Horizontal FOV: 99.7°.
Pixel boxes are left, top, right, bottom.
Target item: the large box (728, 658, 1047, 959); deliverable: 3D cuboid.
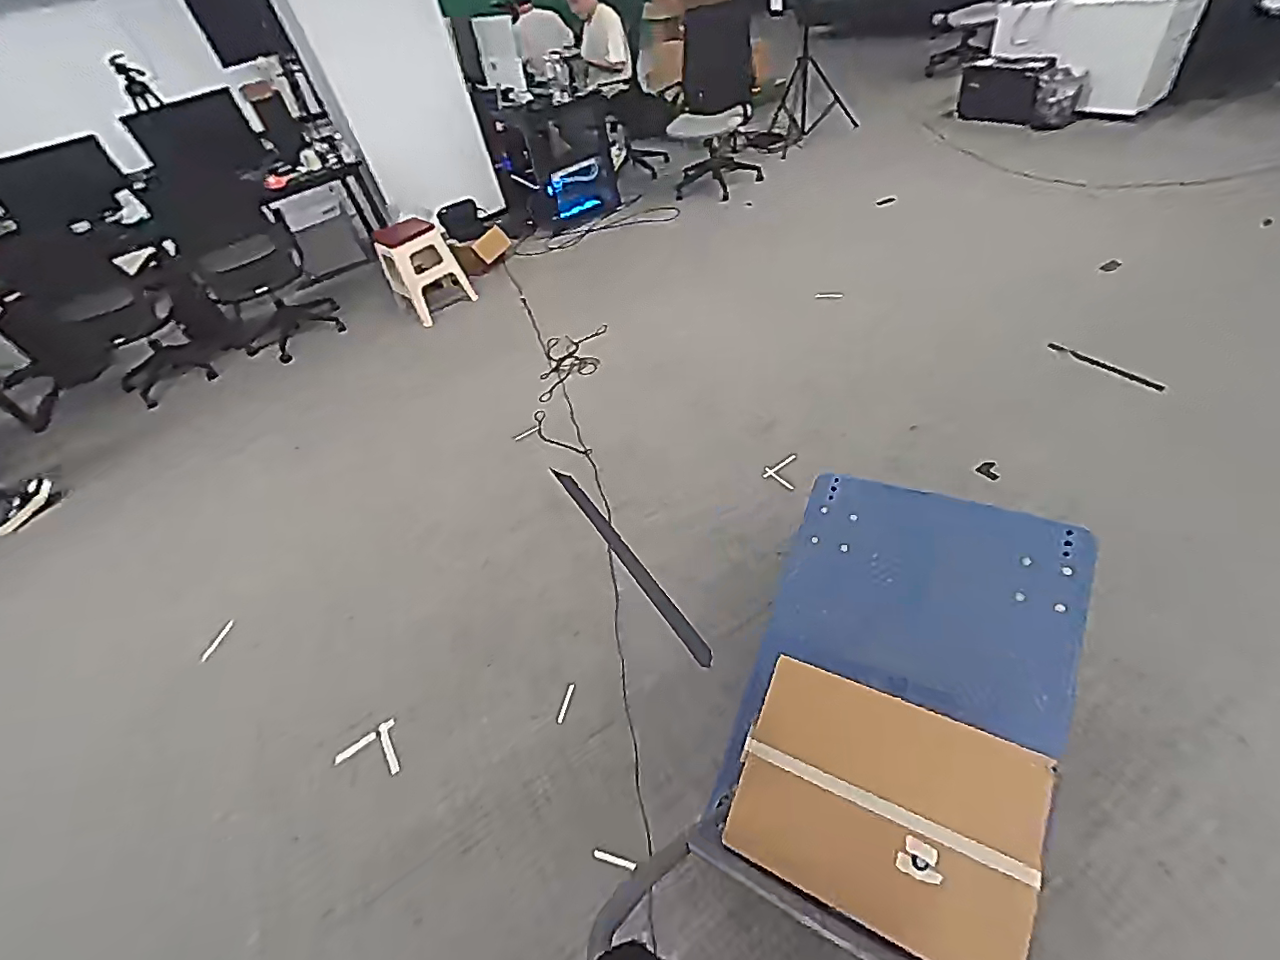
[{"bbox_3d":[0.414,0.554,0.959,0.408,0.320,0.320,15,72,27],"label":"large box"}]
